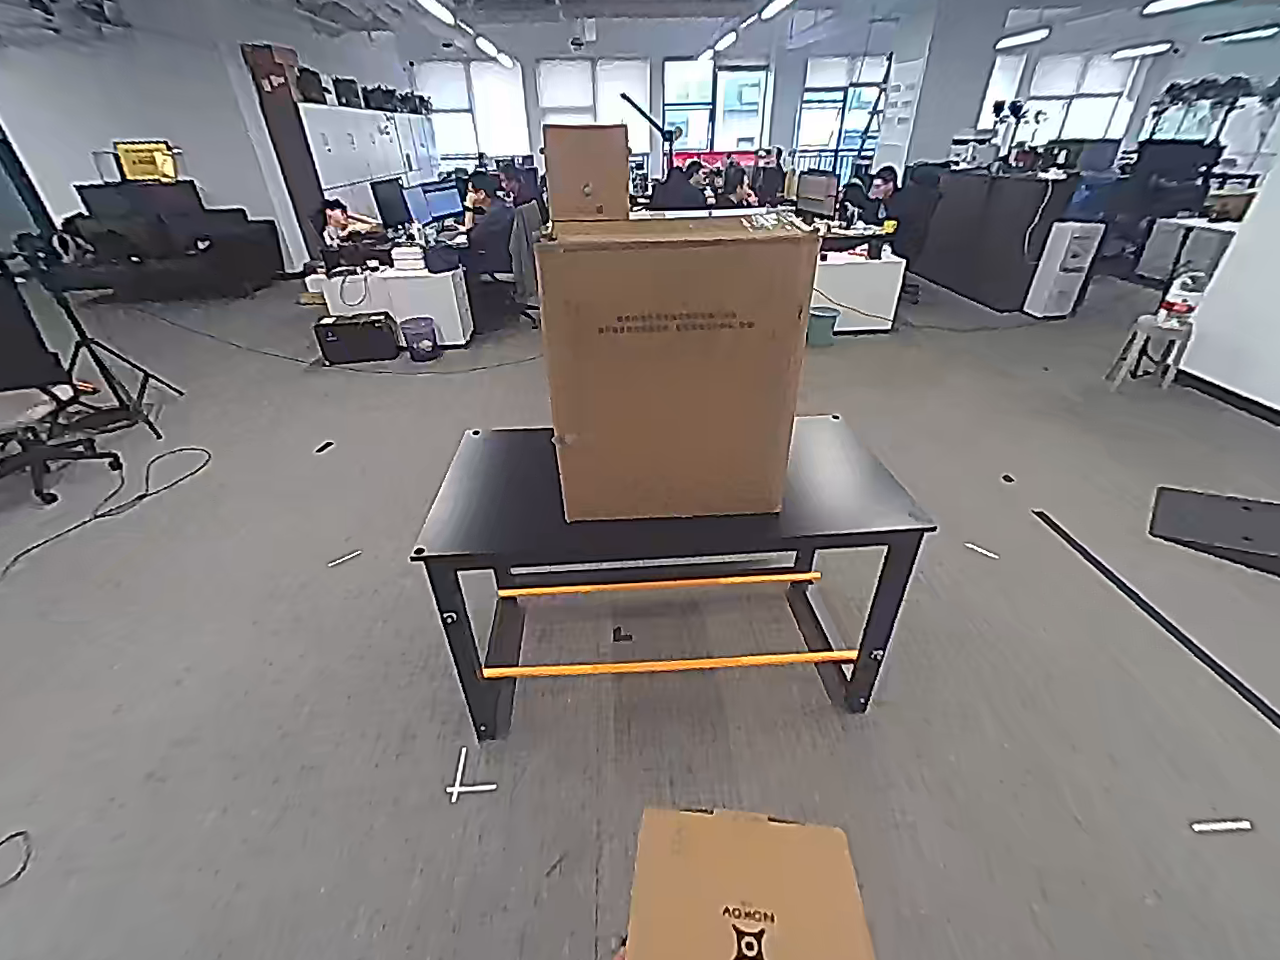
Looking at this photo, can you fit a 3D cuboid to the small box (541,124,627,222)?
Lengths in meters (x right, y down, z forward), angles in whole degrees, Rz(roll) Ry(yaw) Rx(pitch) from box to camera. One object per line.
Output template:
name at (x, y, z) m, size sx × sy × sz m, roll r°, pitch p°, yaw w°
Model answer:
small box at (-0.116, -0.648, 1.146) m, size 0.168 × 0.176 × 0.179 m, roll -4°, pitch 31°, yaw -4°

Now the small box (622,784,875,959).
small box at (0.070, 0.371, 0.404) m, size 0.168 × 0.176 × 0.179 m, roll 4°, pitch 26°, yaw 6°
